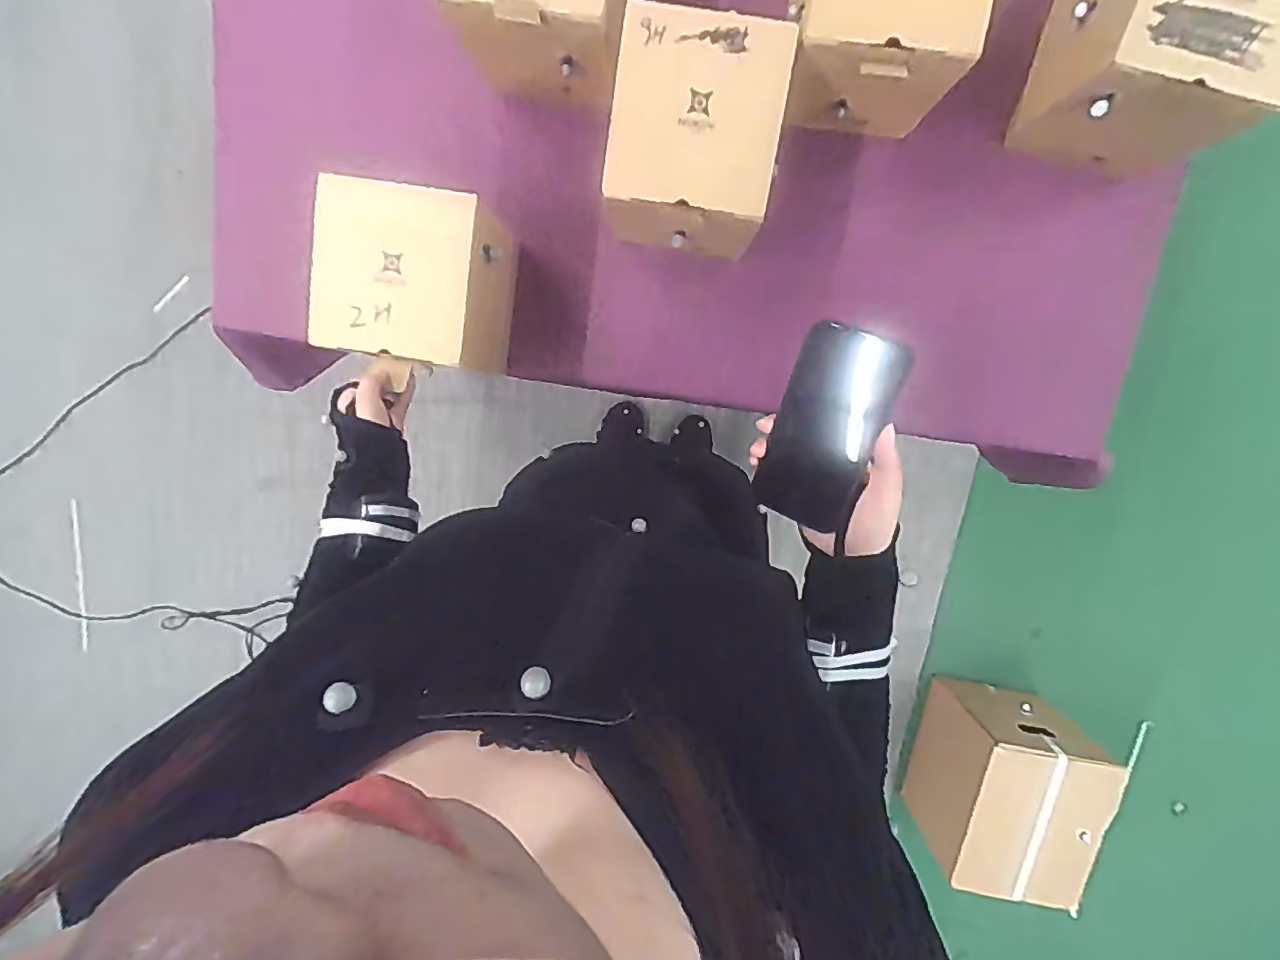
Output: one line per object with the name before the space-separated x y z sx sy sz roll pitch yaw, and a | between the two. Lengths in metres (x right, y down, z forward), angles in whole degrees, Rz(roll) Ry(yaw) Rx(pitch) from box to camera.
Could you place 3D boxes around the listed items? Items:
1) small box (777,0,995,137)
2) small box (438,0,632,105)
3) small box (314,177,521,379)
small box | 0.249 -0.496 0.565 0.168 0.176 0.179 7 102 2
small box | -0.097 -0.539 0.576 0.168 0.176 0.179 9 101 0
small box | -0.247 -0.221 0.638 0.168 0.176 0.179 10 99 2
